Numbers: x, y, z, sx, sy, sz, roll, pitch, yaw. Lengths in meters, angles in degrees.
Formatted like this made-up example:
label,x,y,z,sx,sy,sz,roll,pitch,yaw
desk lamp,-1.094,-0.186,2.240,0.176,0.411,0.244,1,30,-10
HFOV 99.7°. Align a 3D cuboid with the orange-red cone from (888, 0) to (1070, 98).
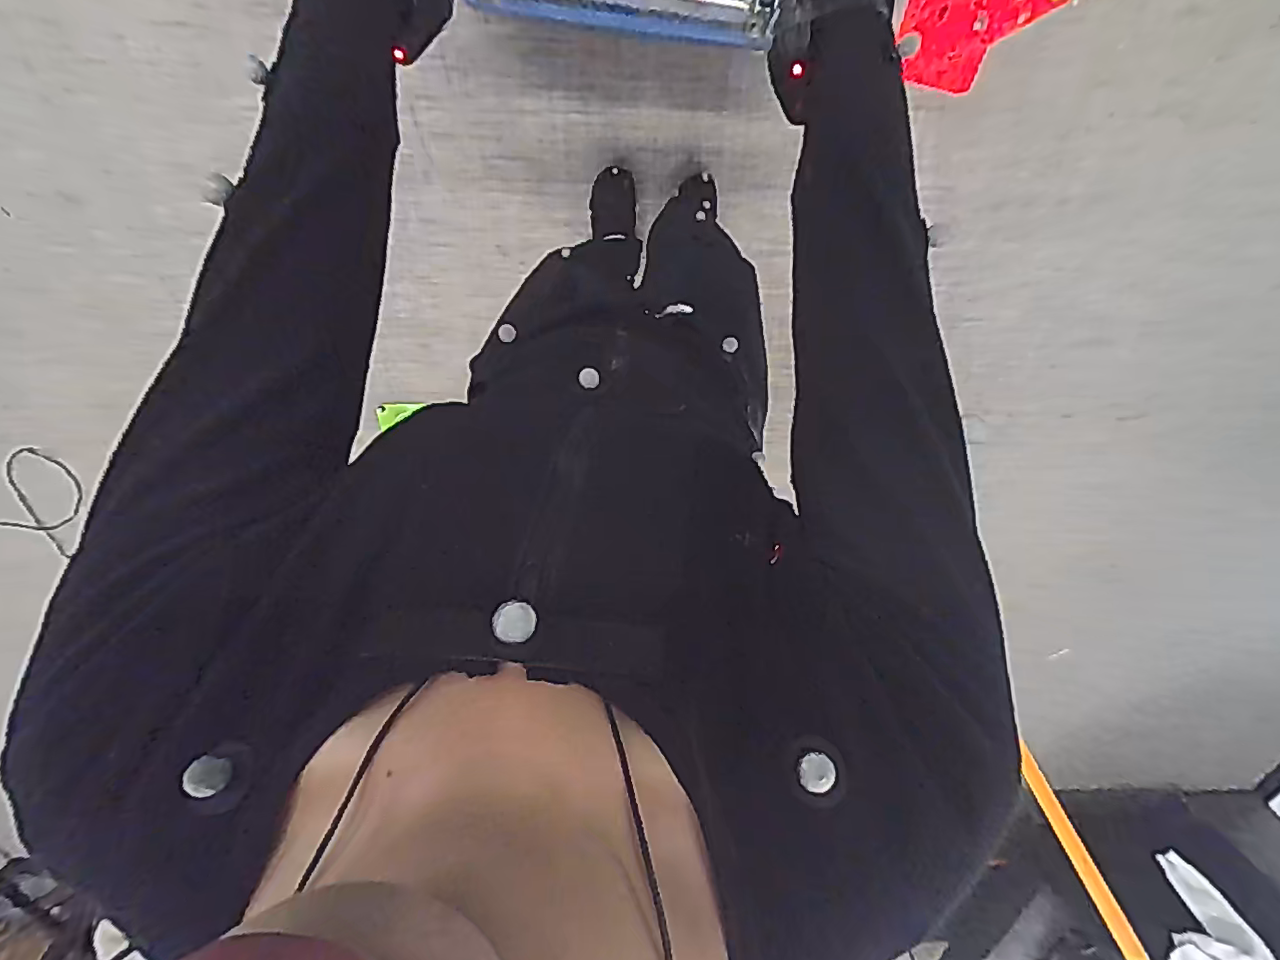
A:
label,x,y,z,sx,sy,sz,roll,pitch,yaw
orange-red cone,0.641,-0.835,0.973,0.198,0.360,0.199,10,121,-8
